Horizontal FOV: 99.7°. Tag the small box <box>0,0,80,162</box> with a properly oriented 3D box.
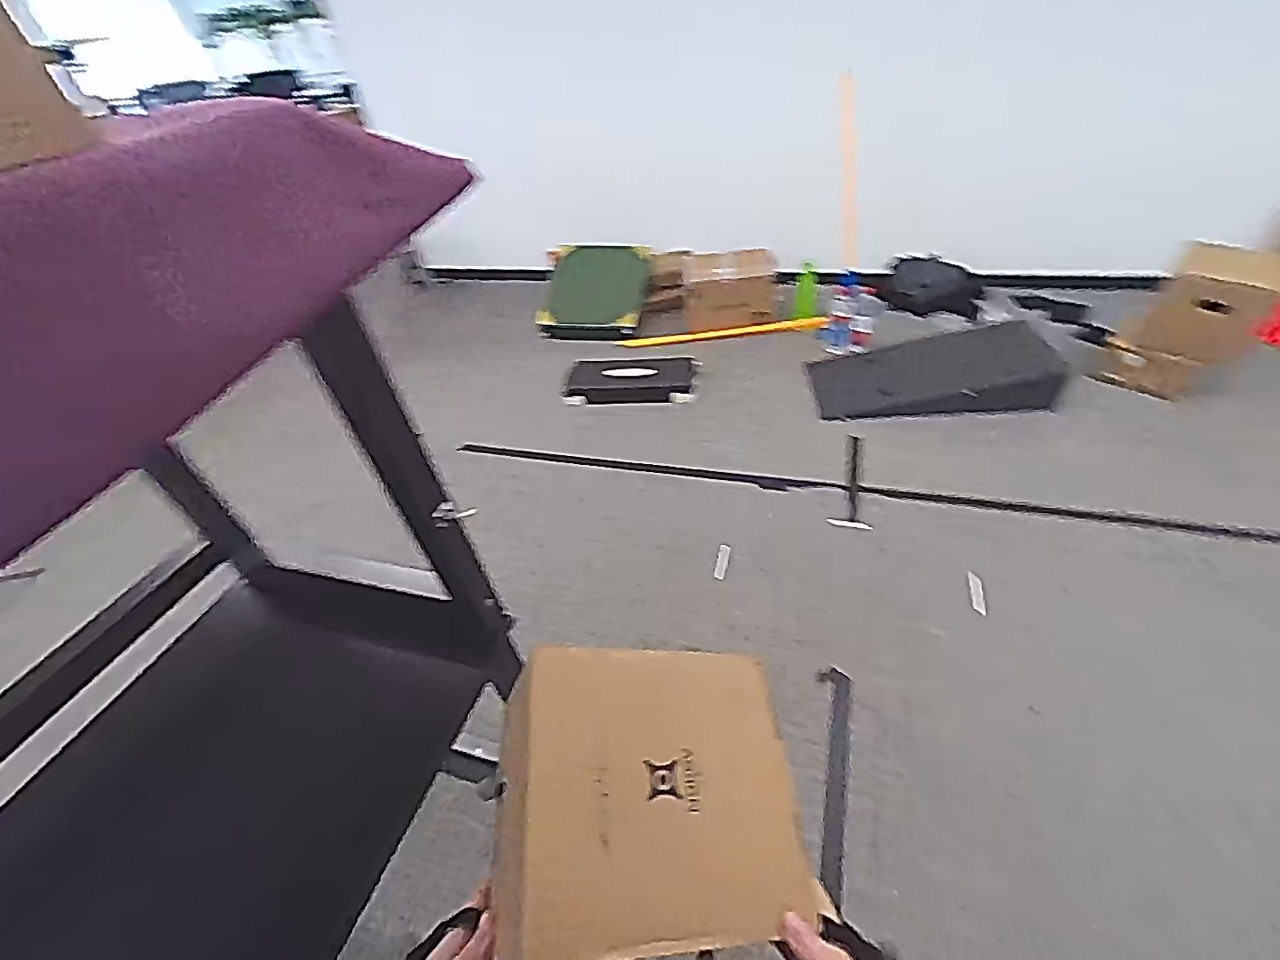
[{"bbox_3d":[-0.507,-0.274,0.321,0.168,0.176,0.179,10,45,22],"label":"small box"}]
